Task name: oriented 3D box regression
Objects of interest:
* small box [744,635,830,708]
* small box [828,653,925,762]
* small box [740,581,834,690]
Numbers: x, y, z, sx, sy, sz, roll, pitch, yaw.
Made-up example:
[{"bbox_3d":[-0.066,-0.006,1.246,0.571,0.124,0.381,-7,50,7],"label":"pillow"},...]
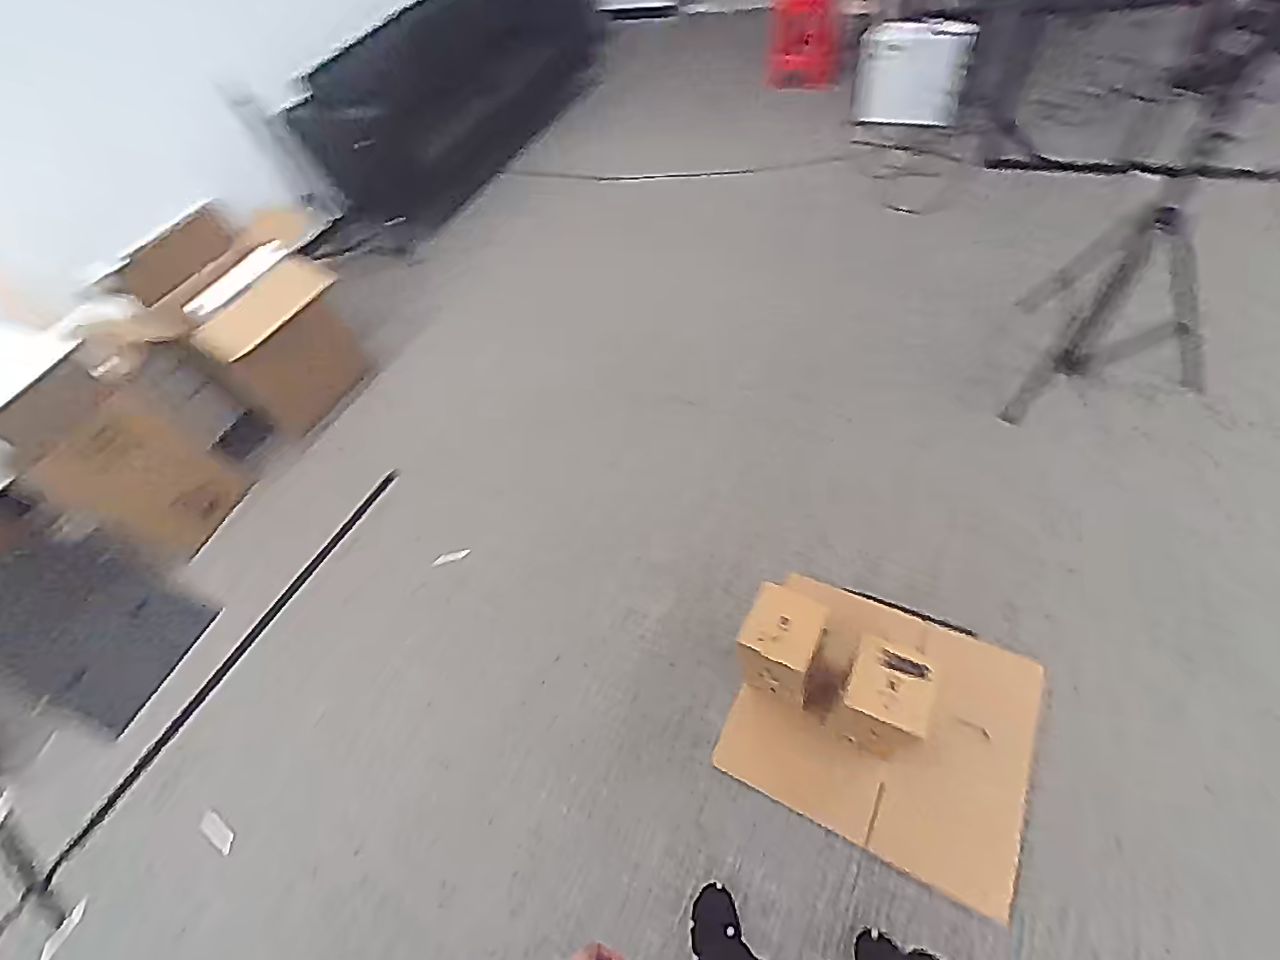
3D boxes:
[{"bbox_3d":[0.398,0.487,1.456,0.168,0.176,0.179,21,64,26],"label":"small box"},{"bbox_3d":[0.584,0.572,1.352,0.168,0.176,0.179,23,64,26],"label":"small box"},{"bbox_3d":[0.360,0.385,1.332,0.168,0.176,0.179,22,63,27],"label":"small box"}]
